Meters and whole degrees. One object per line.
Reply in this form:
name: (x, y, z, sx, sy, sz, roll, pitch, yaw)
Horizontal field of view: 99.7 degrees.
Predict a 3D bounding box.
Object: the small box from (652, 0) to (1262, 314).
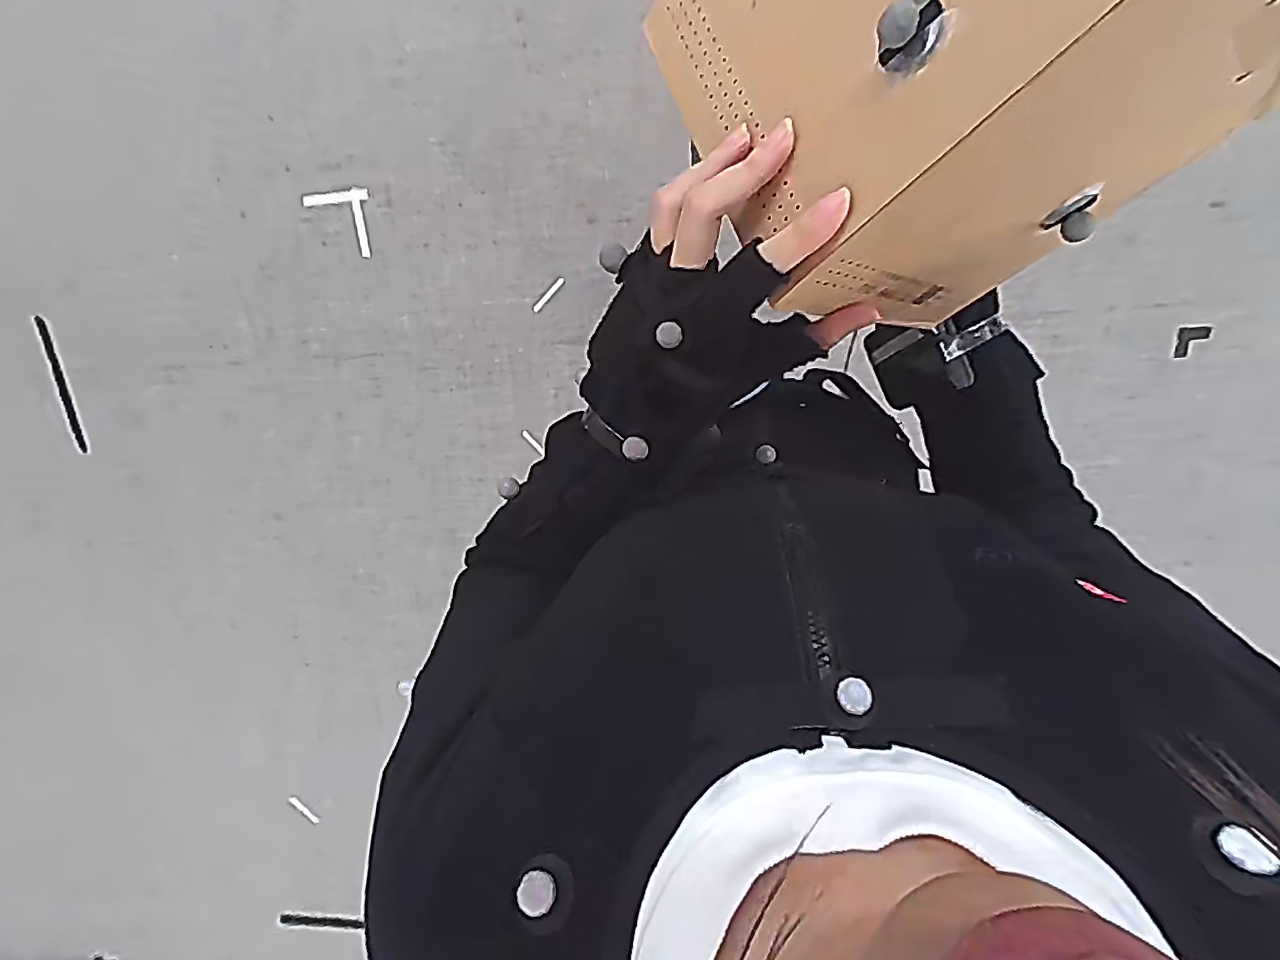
small box: (0.134, -0.205, 0.266, 0.176, 0.168, 0.179, -36, 68, 47)
